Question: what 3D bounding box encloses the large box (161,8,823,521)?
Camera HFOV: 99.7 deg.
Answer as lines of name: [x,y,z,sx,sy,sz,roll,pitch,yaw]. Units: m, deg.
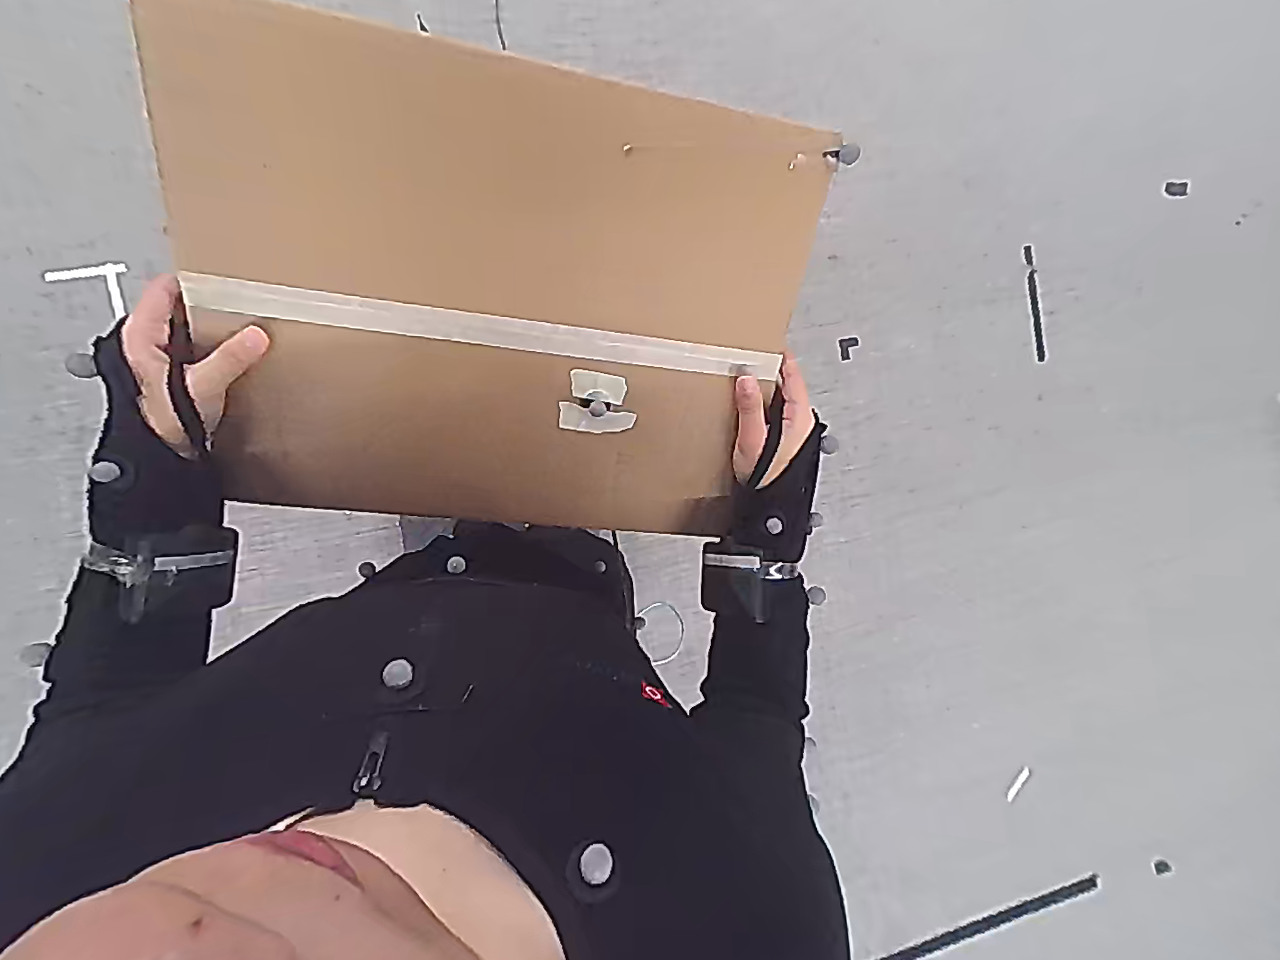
large box: [-0.113,-0.175,0.524,0.408,0.320,0.320,4,117,-12]
